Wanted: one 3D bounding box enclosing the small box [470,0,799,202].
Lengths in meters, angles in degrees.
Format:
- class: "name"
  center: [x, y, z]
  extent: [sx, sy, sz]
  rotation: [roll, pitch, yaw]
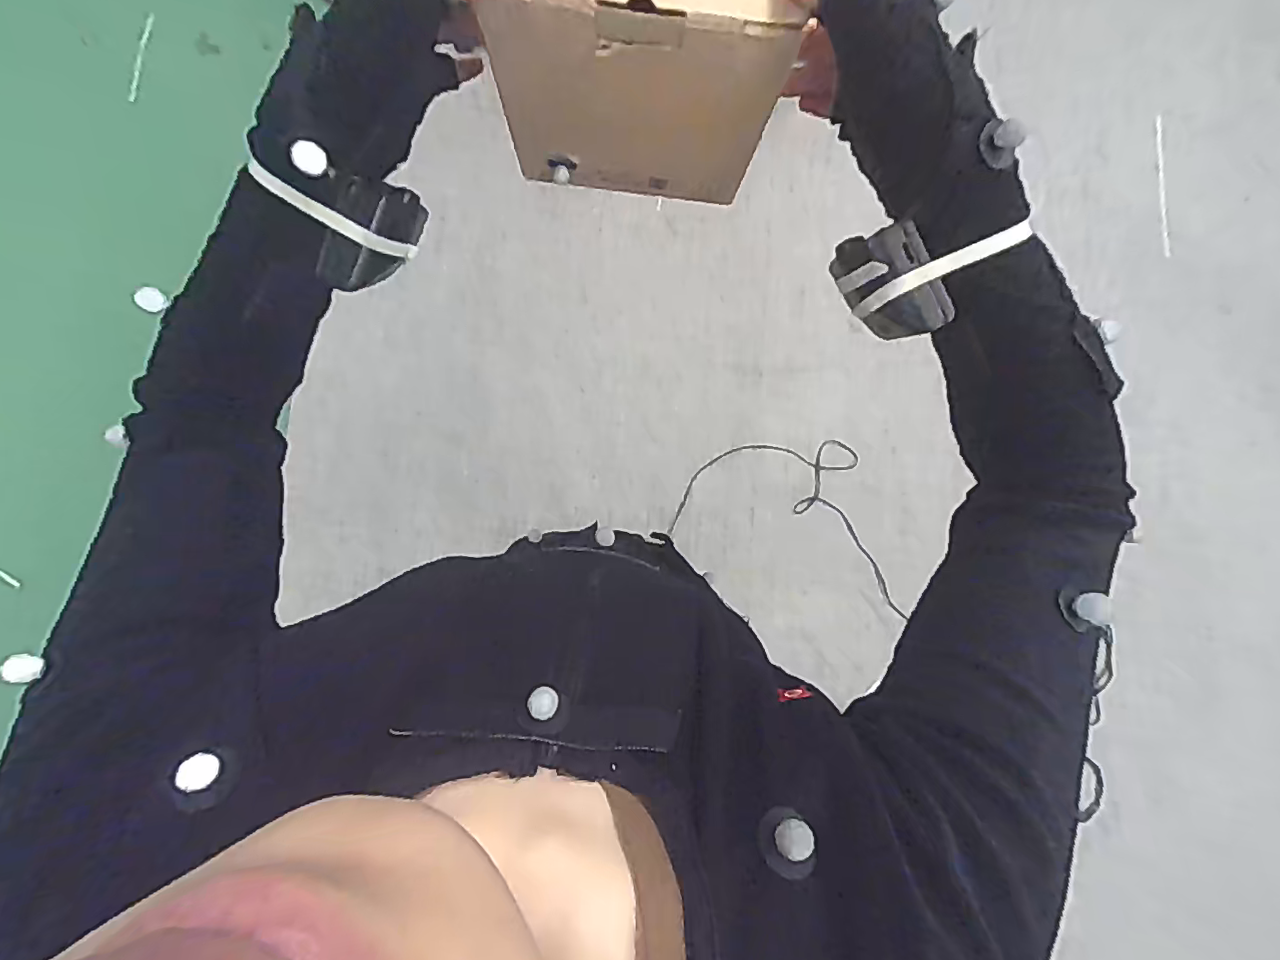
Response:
- class: "small box"
  center: [0.002, -0.309, 0.346]
  extent: [0.168, 0.176, 0.179]
  rotation: [6, 89, -3]
